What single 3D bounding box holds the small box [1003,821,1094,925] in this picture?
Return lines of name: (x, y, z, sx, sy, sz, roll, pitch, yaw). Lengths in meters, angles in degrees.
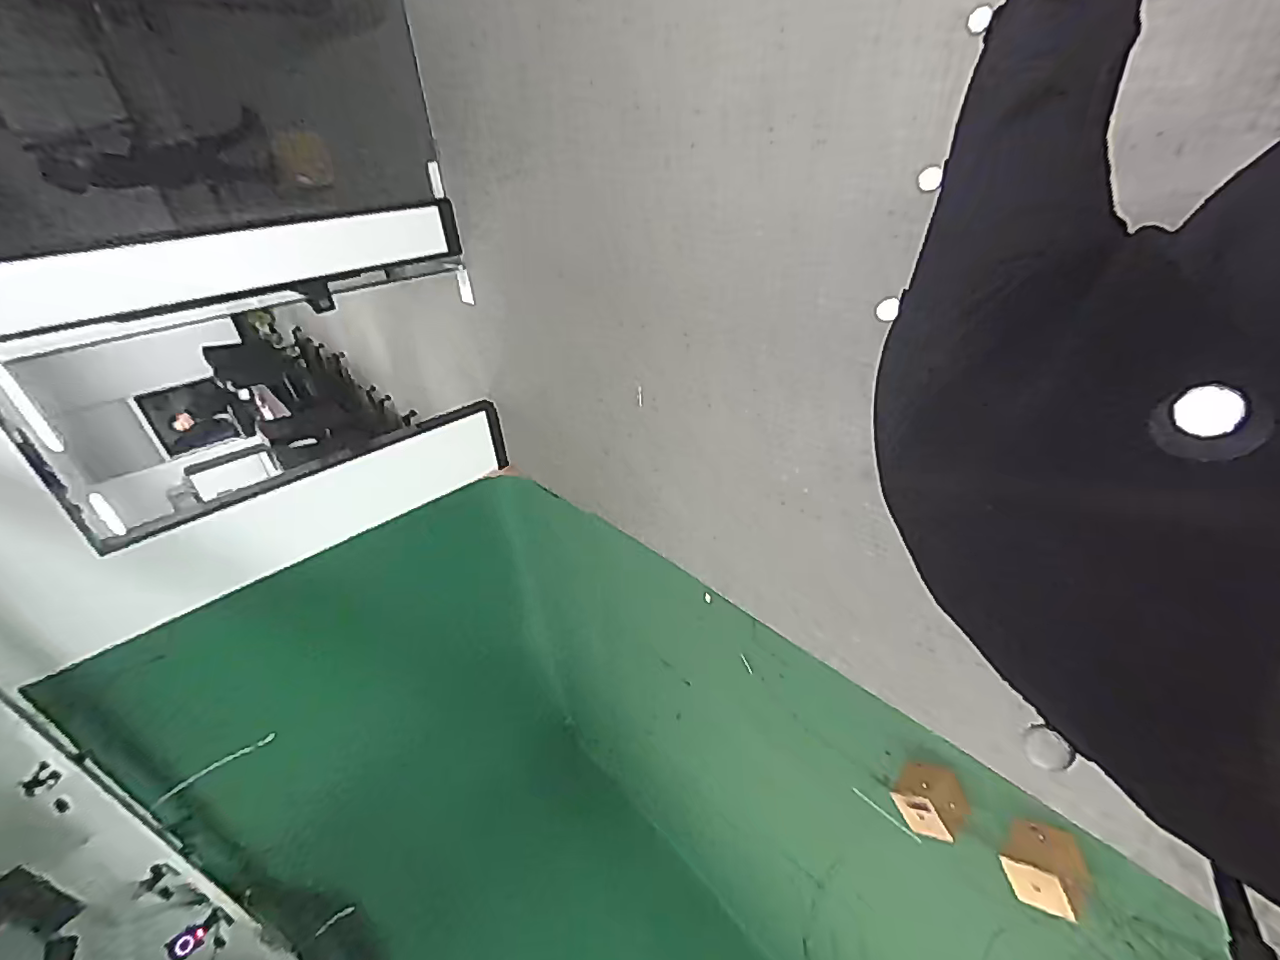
small box: (1.305, 1.242, 1.723, 0.168, 0.176, 0.179, -20, 97, 56)
